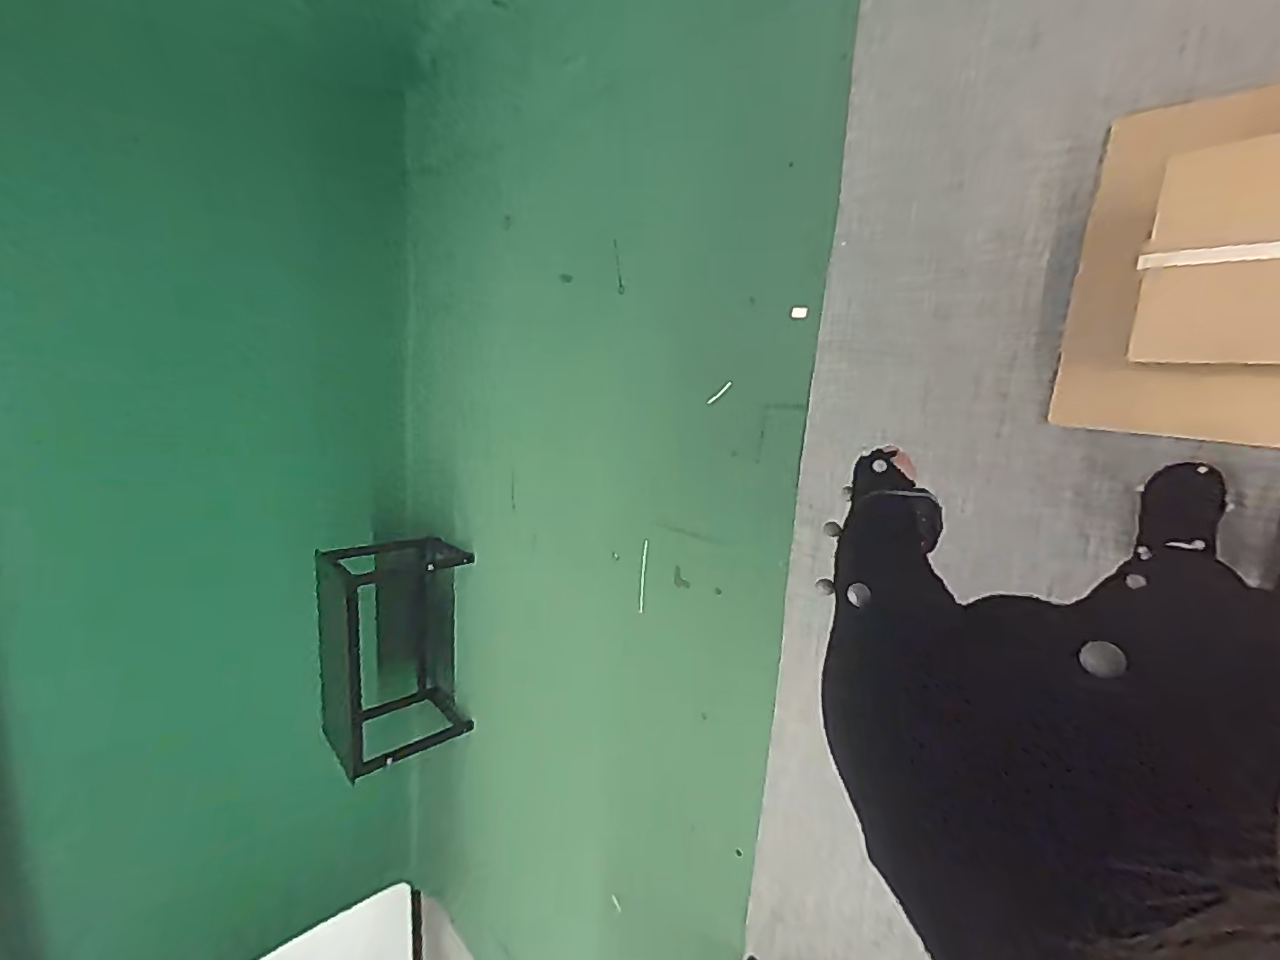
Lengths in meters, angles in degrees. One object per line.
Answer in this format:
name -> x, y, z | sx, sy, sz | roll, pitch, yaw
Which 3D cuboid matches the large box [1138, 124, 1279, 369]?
large box -> 1.037, -0.331, 0.797 | 0.408, 0.320, 0.320 | 13, 104, 44
